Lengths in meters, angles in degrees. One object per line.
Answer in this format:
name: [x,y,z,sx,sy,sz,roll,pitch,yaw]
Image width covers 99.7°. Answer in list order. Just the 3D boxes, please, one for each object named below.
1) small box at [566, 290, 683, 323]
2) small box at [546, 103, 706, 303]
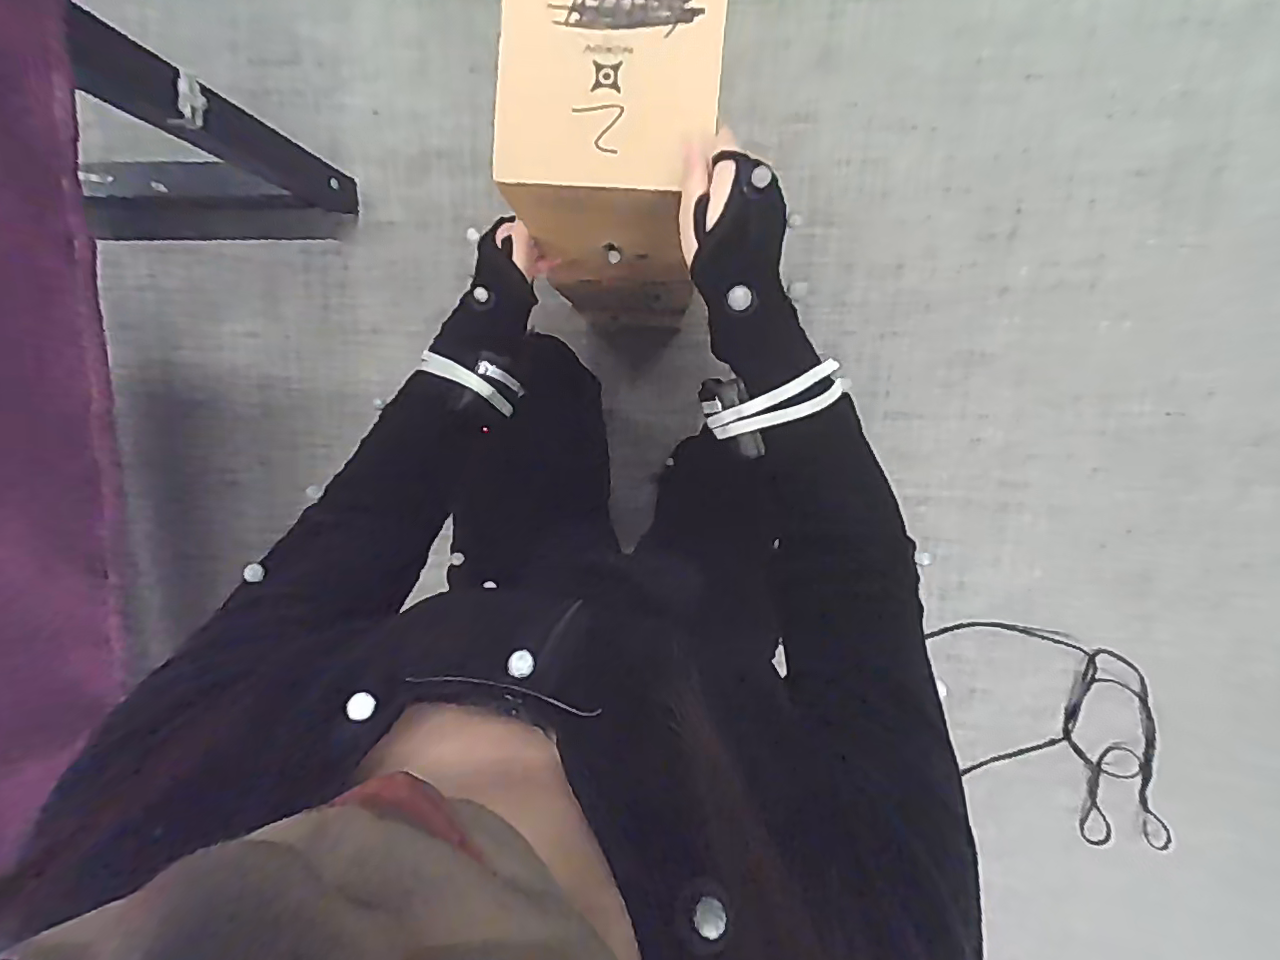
small box: [-0.010,-0.337,0.813,0.168,0.176,0.179,6,101,1]
small box: [-0.015,-0.315,0.652,0.168,0.176,0.179,3,100,0]
